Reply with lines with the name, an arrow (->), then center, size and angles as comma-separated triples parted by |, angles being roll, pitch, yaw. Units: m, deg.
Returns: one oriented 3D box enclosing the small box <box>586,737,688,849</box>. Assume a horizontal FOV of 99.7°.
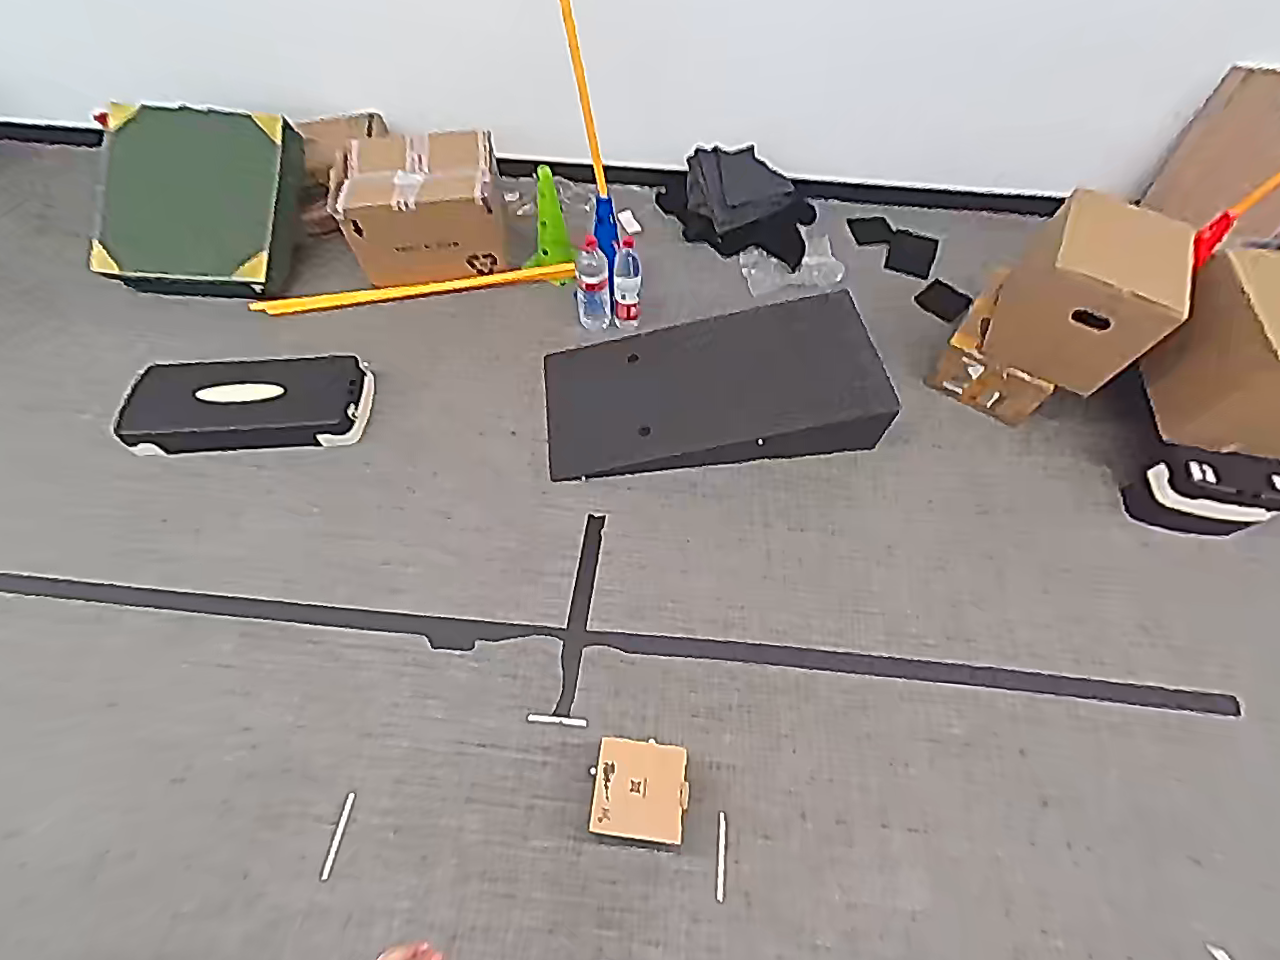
small box -> -0.006, 0.634, 1.103 | 0.179, 0.176, 0.168 | 8, 60, 2
